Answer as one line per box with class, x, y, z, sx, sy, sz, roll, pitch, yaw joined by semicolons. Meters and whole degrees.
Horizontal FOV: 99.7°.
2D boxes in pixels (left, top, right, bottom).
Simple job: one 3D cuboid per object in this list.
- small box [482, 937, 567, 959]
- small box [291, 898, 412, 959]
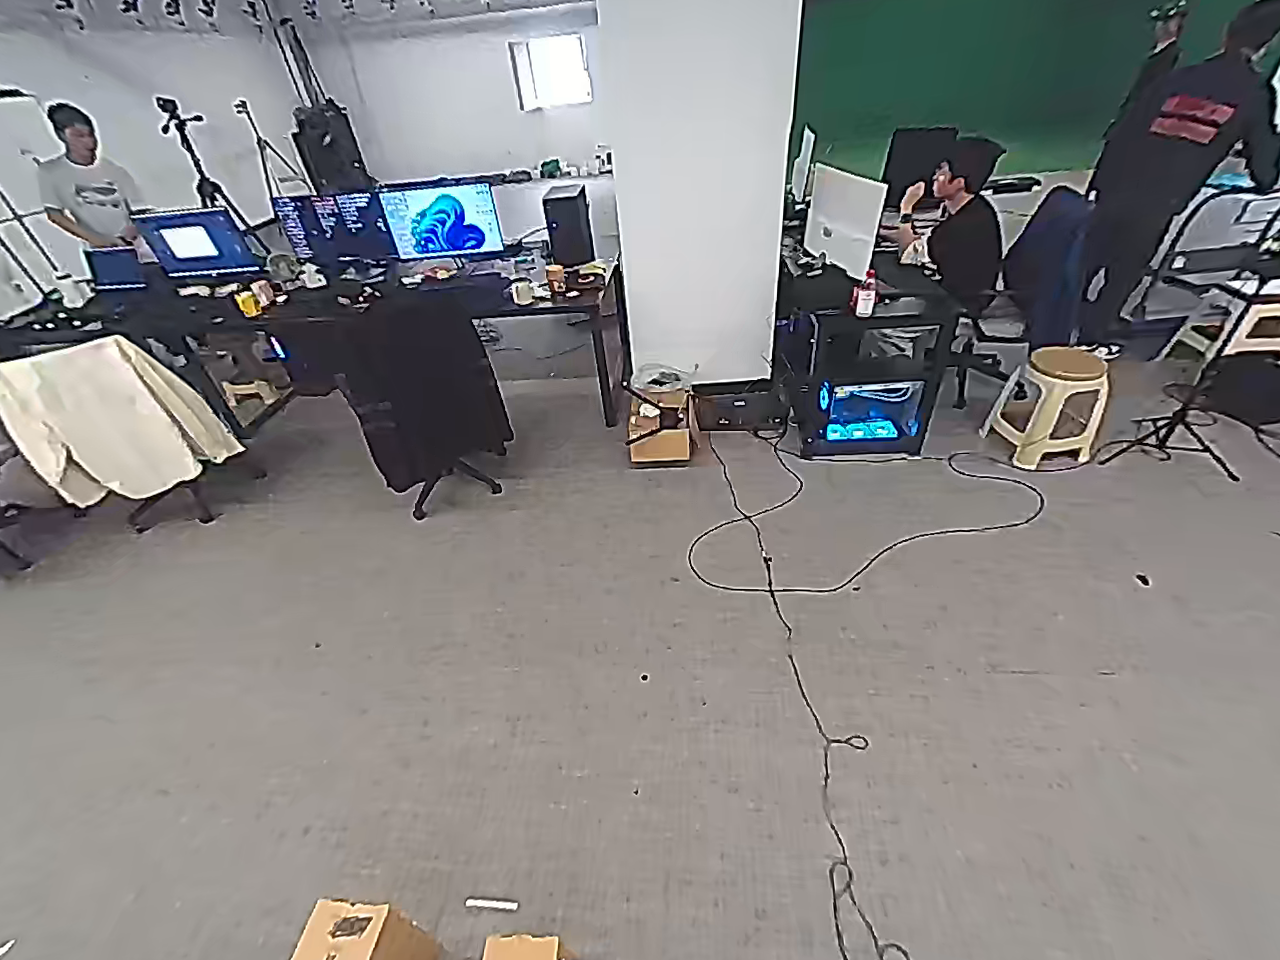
small box;-0.255;1.127;1.174;0.168;0.176;0.179;-3;38;5
small box;-0.598;1.001;1.115;0.168;0.176;0.179;-1;39;8
